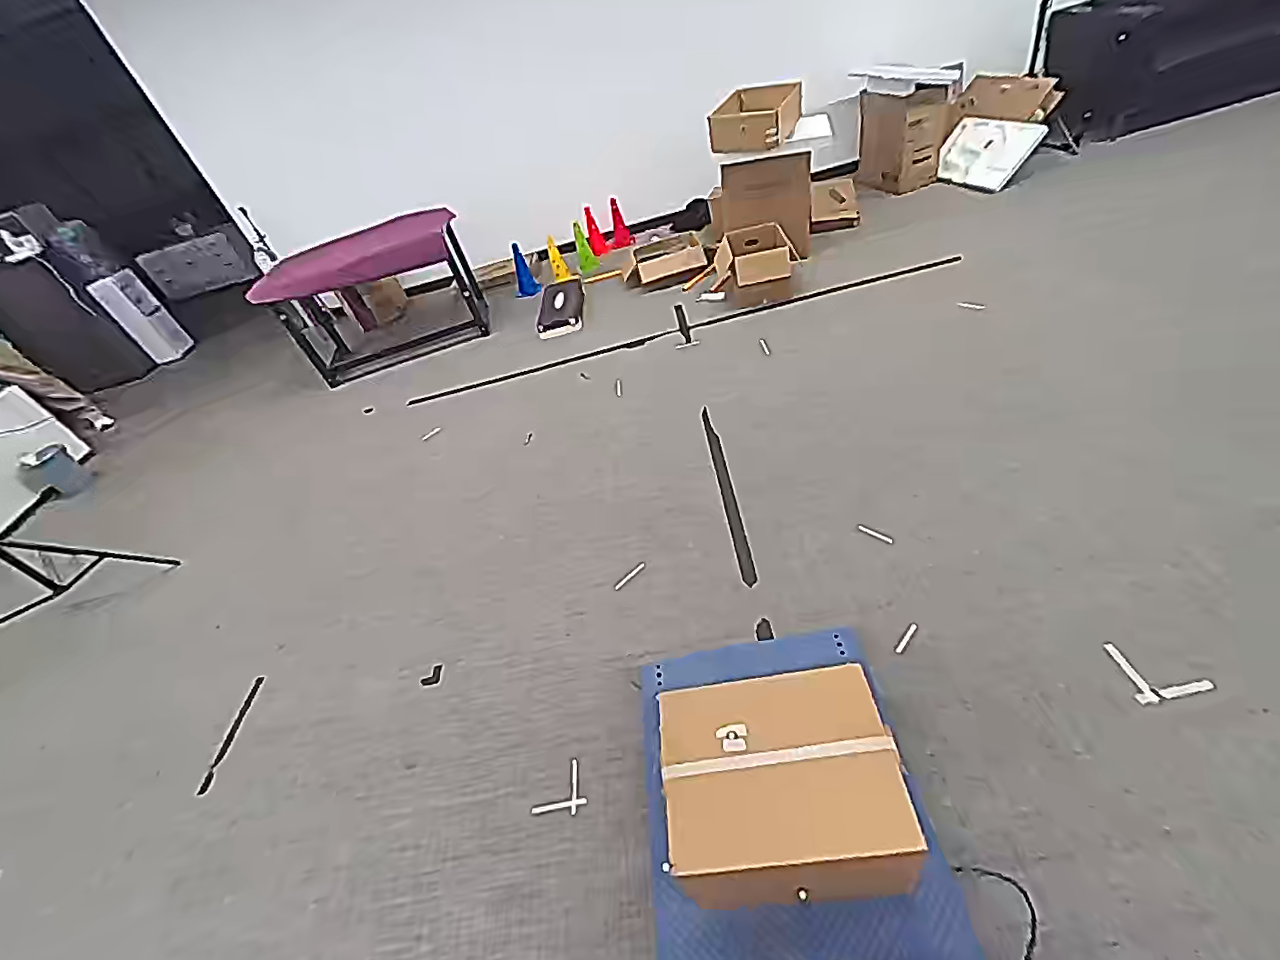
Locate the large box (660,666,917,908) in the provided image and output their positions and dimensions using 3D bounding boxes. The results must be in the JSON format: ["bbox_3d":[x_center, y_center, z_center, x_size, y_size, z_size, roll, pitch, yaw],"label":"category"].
[{"bbox_3d":[0.278,0.618,1.080,0.408,0.320,0.320,-13,40,8],"label":"large box"}]
